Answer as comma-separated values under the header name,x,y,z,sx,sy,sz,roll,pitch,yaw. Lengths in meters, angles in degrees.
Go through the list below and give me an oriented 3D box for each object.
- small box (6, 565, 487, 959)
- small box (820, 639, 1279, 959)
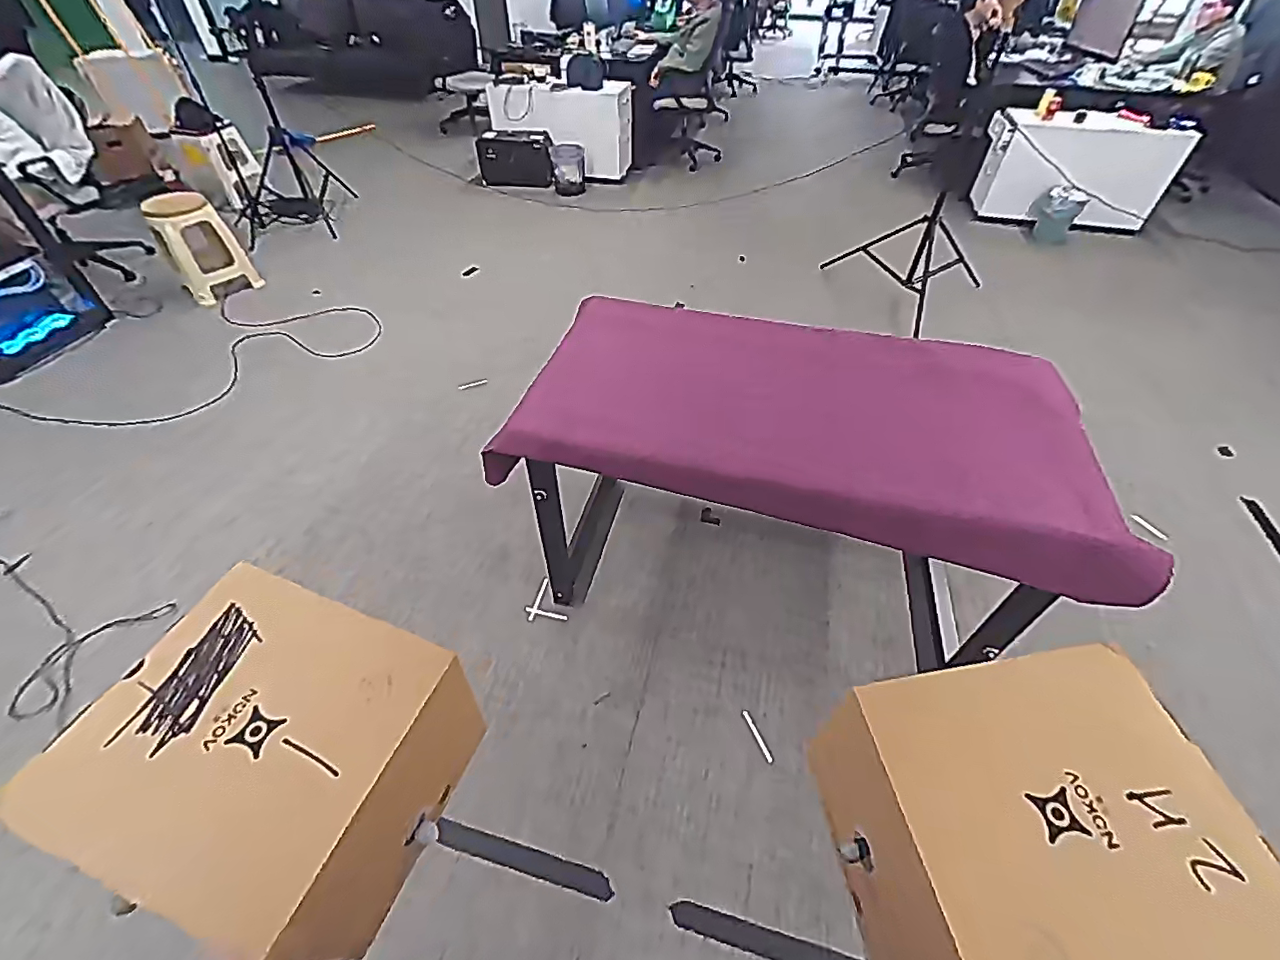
name,x,y,z,sx,sy,sz,roll,pitch,yaw
small box,-0.229,0.193,0.375,0.179,0.176,0.168,20,51,9
small box,0.231,0.226,0.350,0.179,0.176,0.168,-8,51,-4
